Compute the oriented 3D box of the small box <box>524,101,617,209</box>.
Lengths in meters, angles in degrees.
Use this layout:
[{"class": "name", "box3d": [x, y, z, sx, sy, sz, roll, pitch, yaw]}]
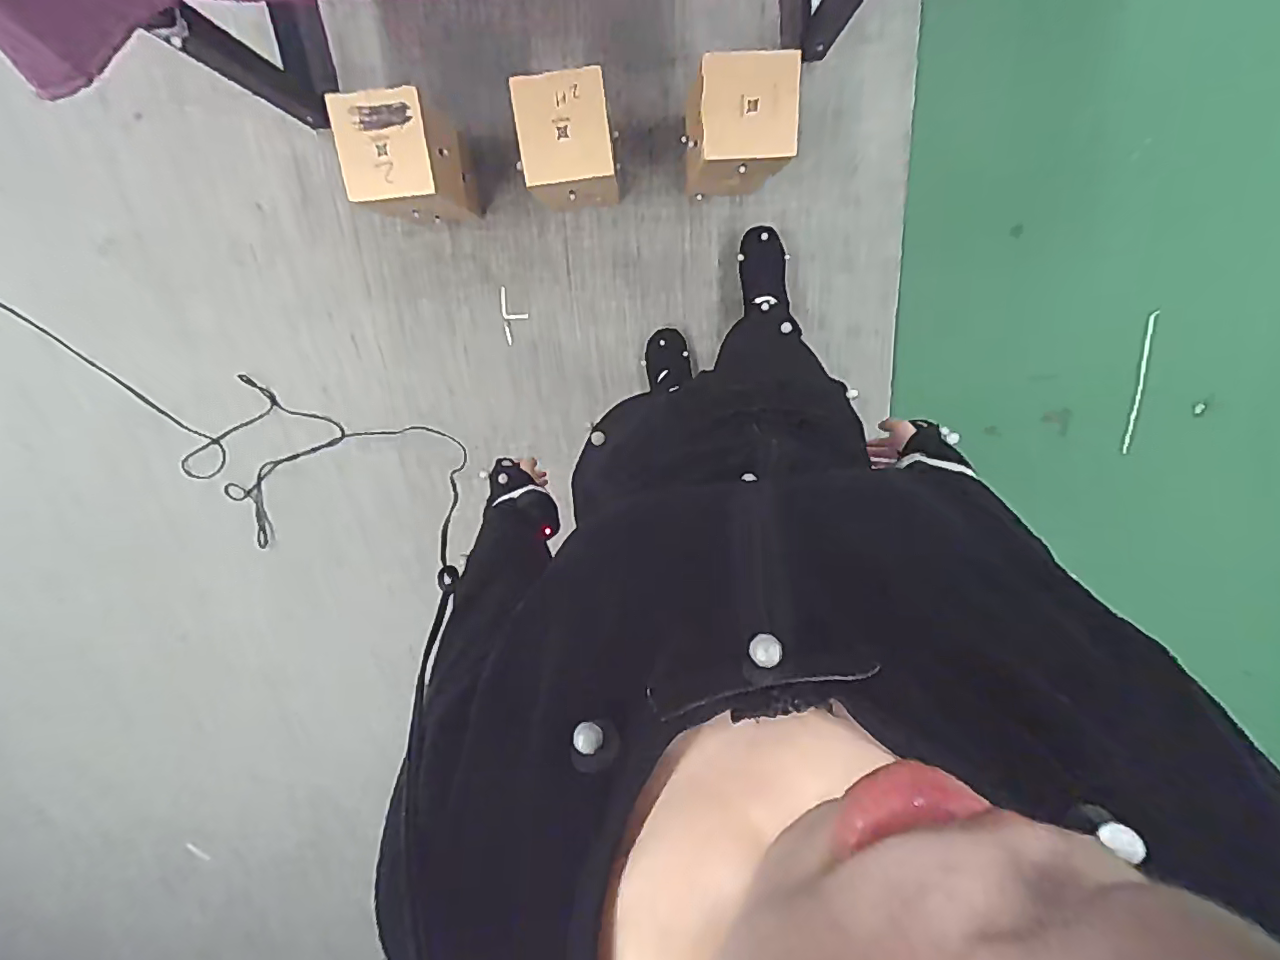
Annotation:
[{"class": "small box", "box3d": [-0.147, -0.714, 1.204, 0.179, 0.176, 0.168, -5, 107, 1]}]
